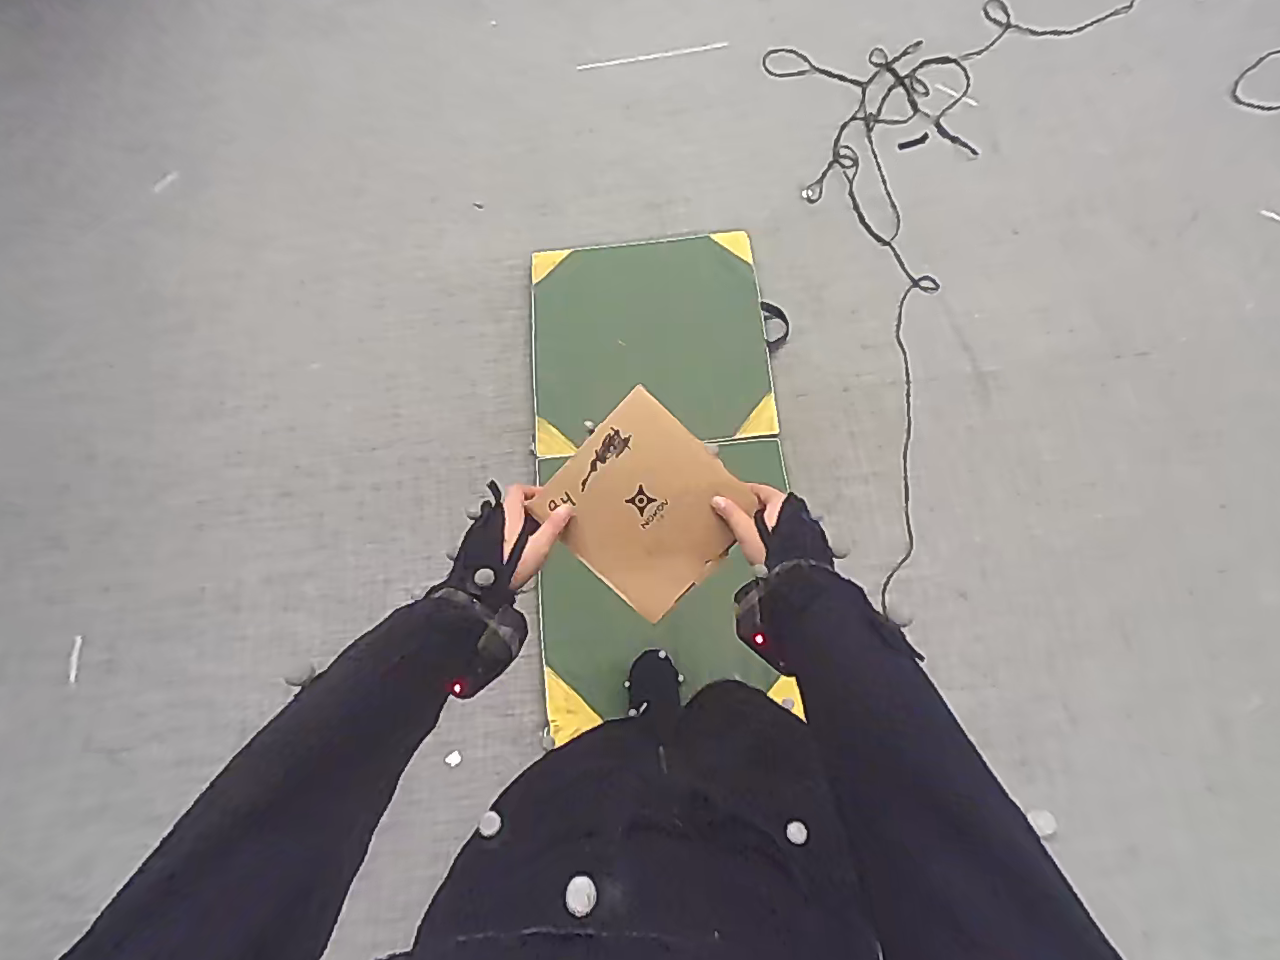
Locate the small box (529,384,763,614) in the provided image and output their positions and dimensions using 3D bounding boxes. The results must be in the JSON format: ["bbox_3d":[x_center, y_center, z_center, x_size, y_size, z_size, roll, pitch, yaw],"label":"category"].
[{"bbox_3d":[0.006,0.013,0.611,0.179,0.176,0.168,43,93,-4],"label":"small box"}]
